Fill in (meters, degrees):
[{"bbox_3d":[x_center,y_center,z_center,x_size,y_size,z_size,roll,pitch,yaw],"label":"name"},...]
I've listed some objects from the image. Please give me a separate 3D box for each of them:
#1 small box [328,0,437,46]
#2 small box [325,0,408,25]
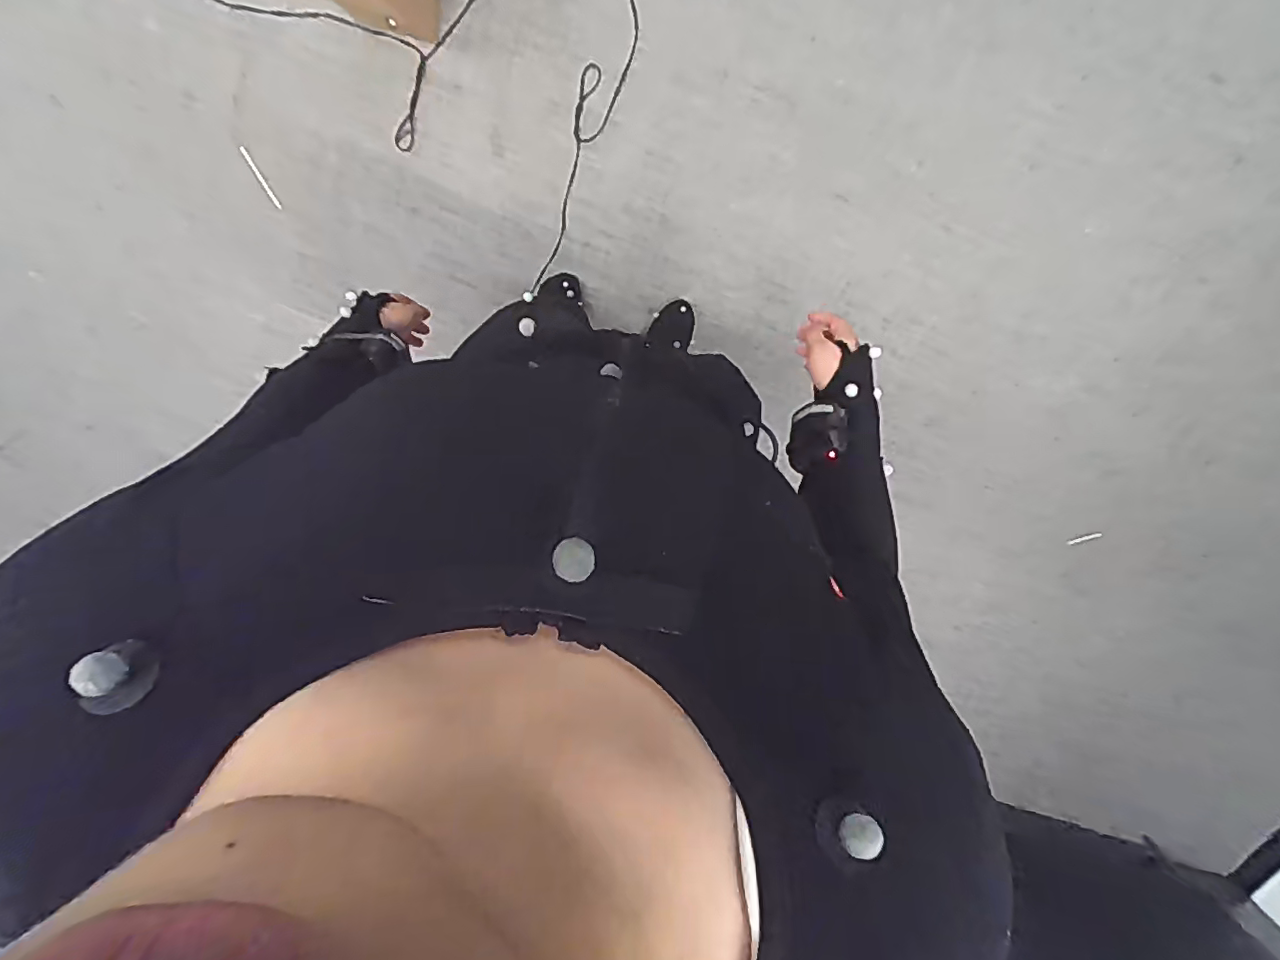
[{"bbox_3d":[-0.507,-0.997,1.062,0.179,0.176,0.168,12,109,-5],"label":"small box"},{"bbox_3d":[-0.506,-0.923,0.915,0.179,0.176,0.168,15,110,-7],"label":"small box"}]
